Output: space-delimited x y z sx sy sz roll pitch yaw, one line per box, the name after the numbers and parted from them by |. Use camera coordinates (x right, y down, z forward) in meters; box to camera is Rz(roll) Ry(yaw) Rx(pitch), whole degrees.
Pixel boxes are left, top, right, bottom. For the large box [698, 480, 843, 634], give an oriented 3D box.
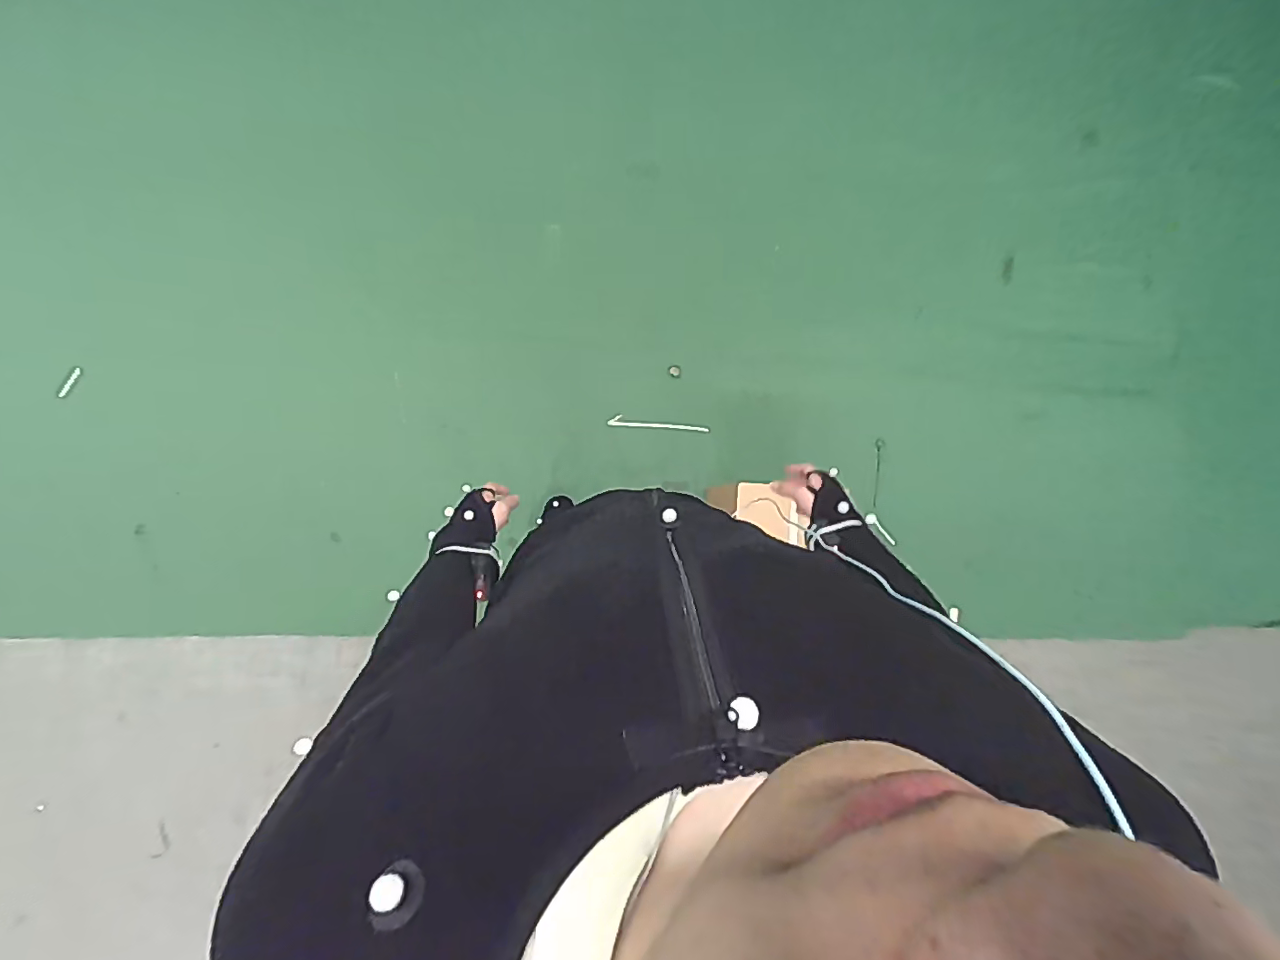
0.362 0.207 1.565 0.320 0.320 0.408 4 88 -9 | large box
